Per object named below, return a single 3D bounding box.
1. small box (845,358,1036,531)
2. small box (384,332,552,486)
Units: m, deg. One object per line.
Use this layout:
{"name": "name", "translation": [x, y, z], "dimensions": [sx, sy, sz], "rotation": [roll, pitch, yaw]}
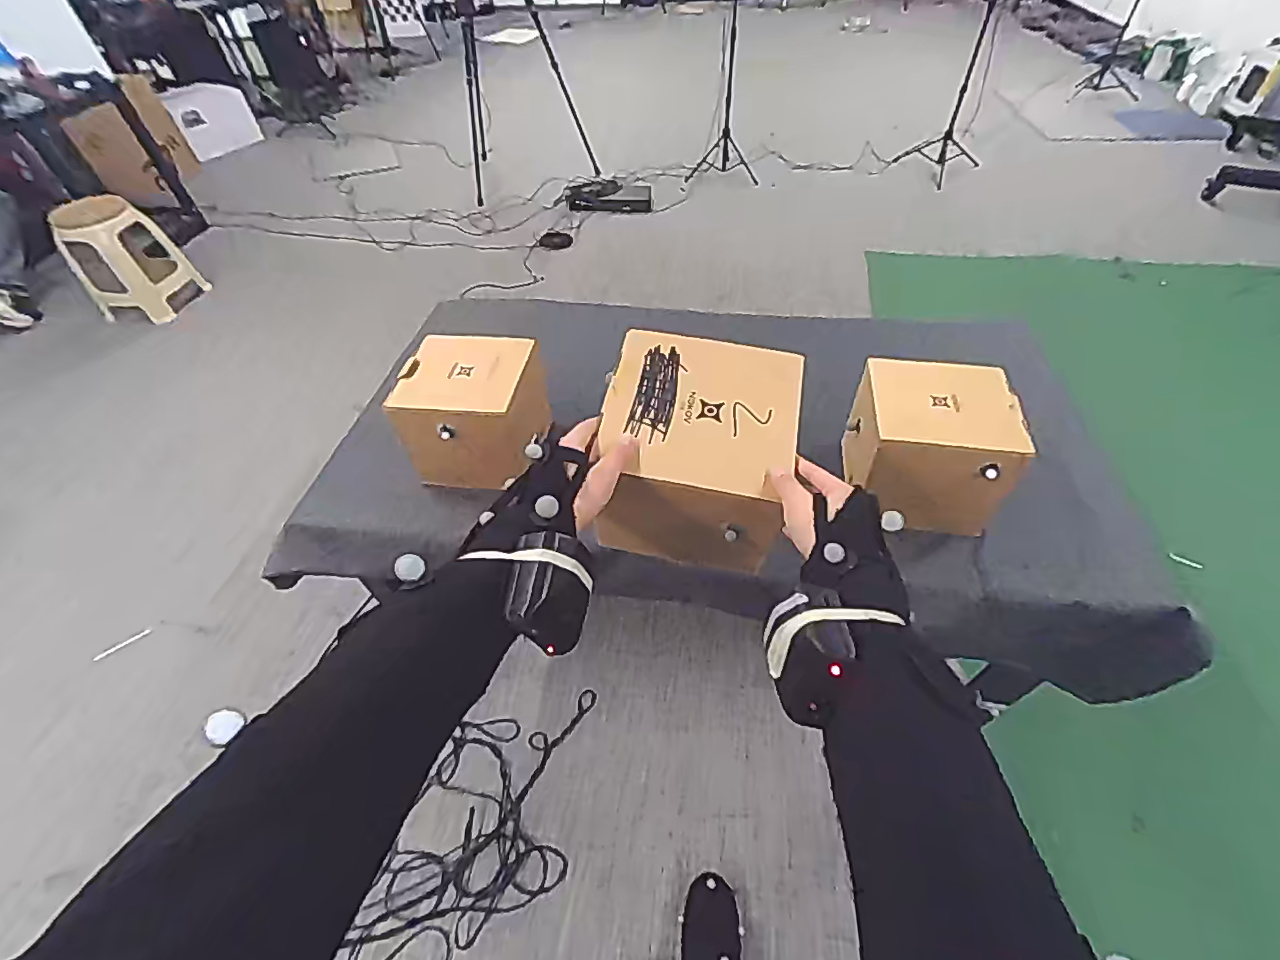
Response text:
{"name": "small box", "translation": [0.388, -0.046, 0.741], "dimensions": [0.179, 0.176, 0.168], "rotation": [7, 50, 8]}
{"name": "small box", "translation": [-0.246, -0.105, 0.827], "dimensions": [0.179, 0.176, 0.168], "rotation": [4, 51, 5]}
